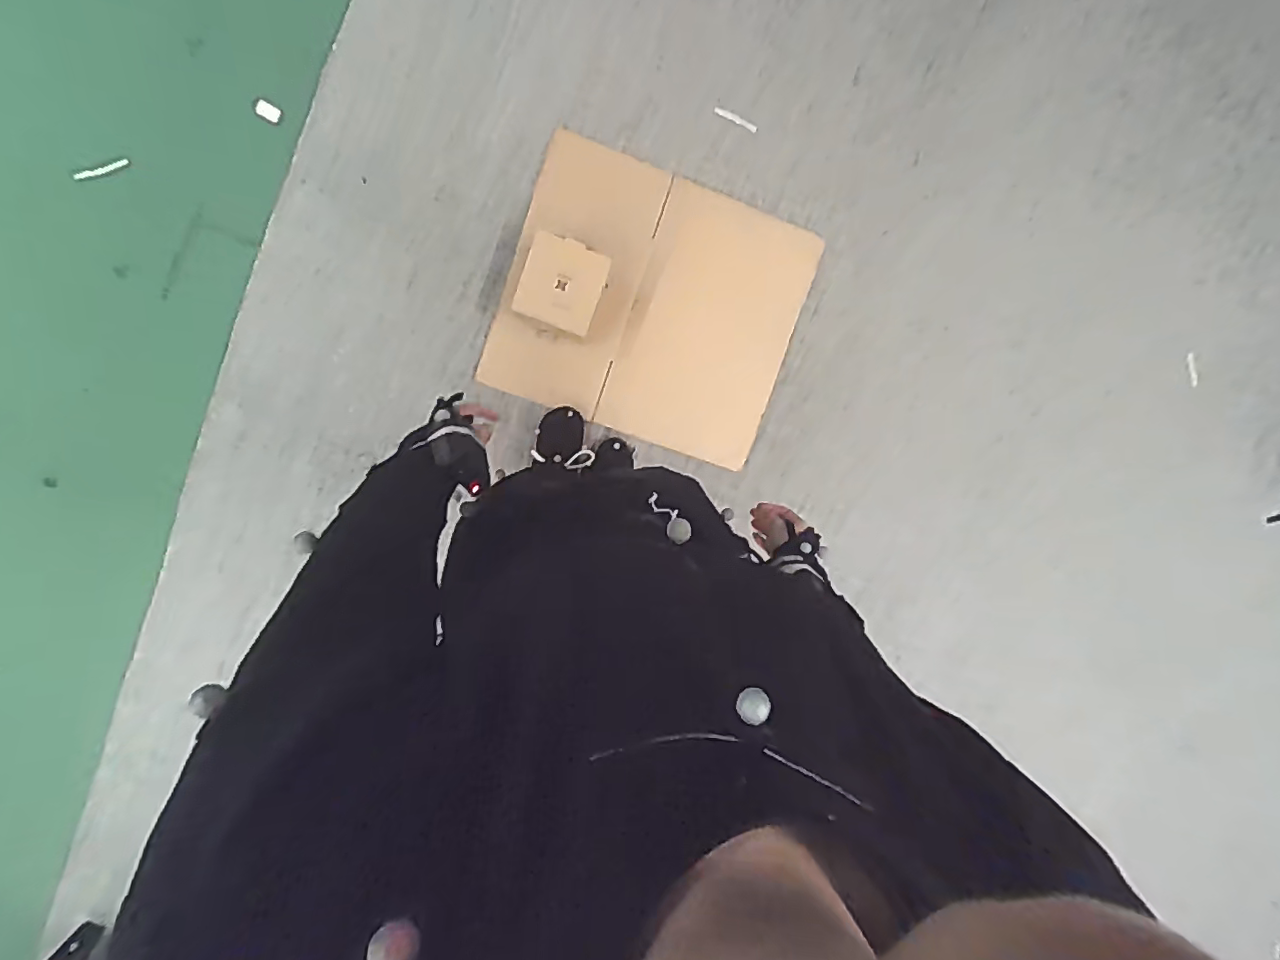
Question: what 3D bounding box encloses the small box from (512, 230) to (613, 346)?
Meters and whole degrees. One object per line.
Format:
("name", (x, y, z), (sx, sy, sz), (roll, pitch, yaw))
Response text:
("small box", (-0.167, -0.412, 1.191), (0.168, 0.176, 0.179), (19, 96, -7))
